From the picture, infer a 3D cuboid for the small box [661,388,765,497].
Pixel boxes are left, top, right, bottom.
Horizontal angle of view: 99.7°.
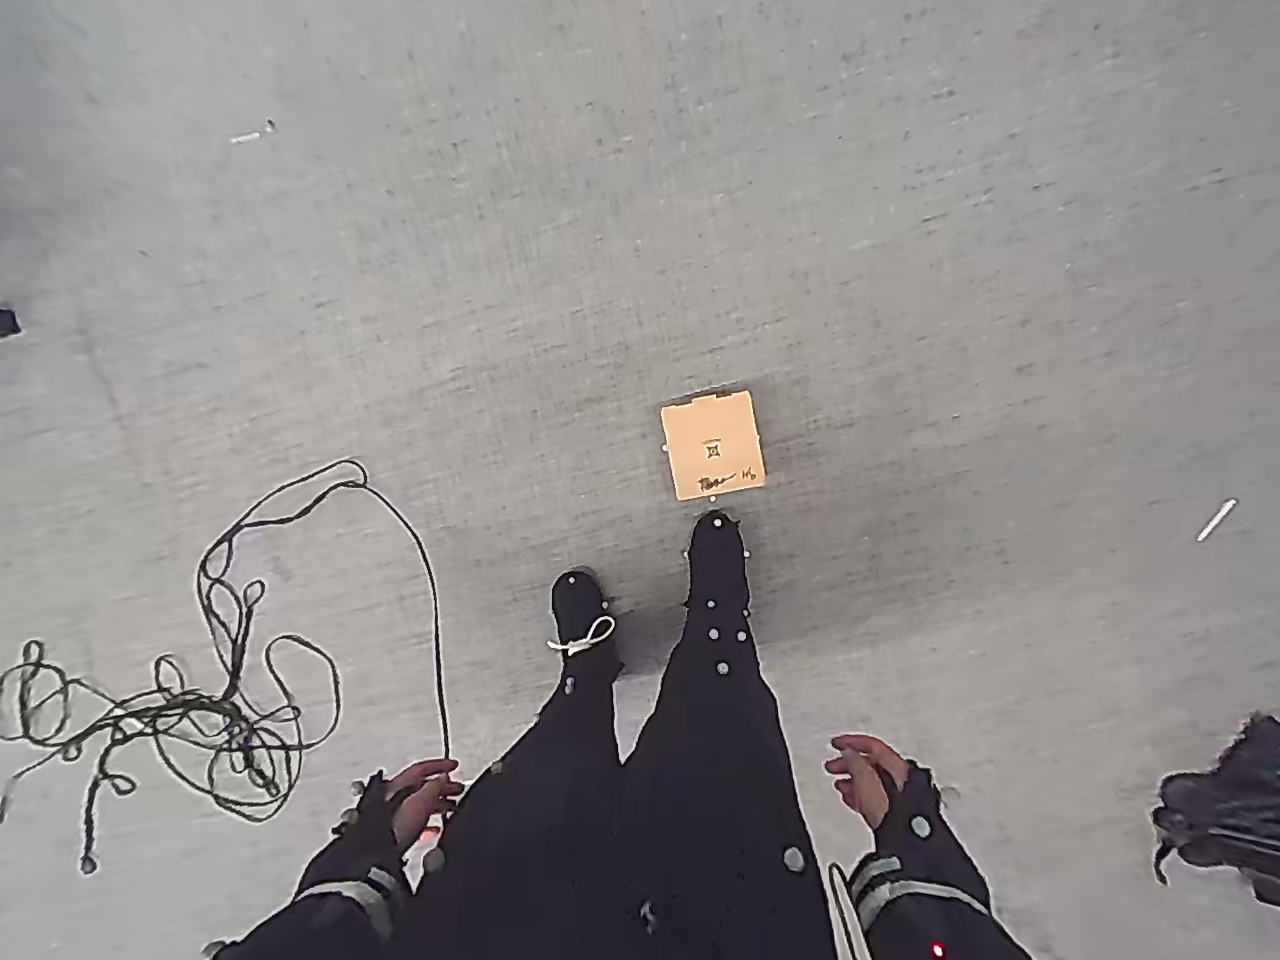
[{"bbox_3d":[0.137,-0.069,1.055,0.168,0.176,0.179,-11,92,6],"label":"small box"}]
